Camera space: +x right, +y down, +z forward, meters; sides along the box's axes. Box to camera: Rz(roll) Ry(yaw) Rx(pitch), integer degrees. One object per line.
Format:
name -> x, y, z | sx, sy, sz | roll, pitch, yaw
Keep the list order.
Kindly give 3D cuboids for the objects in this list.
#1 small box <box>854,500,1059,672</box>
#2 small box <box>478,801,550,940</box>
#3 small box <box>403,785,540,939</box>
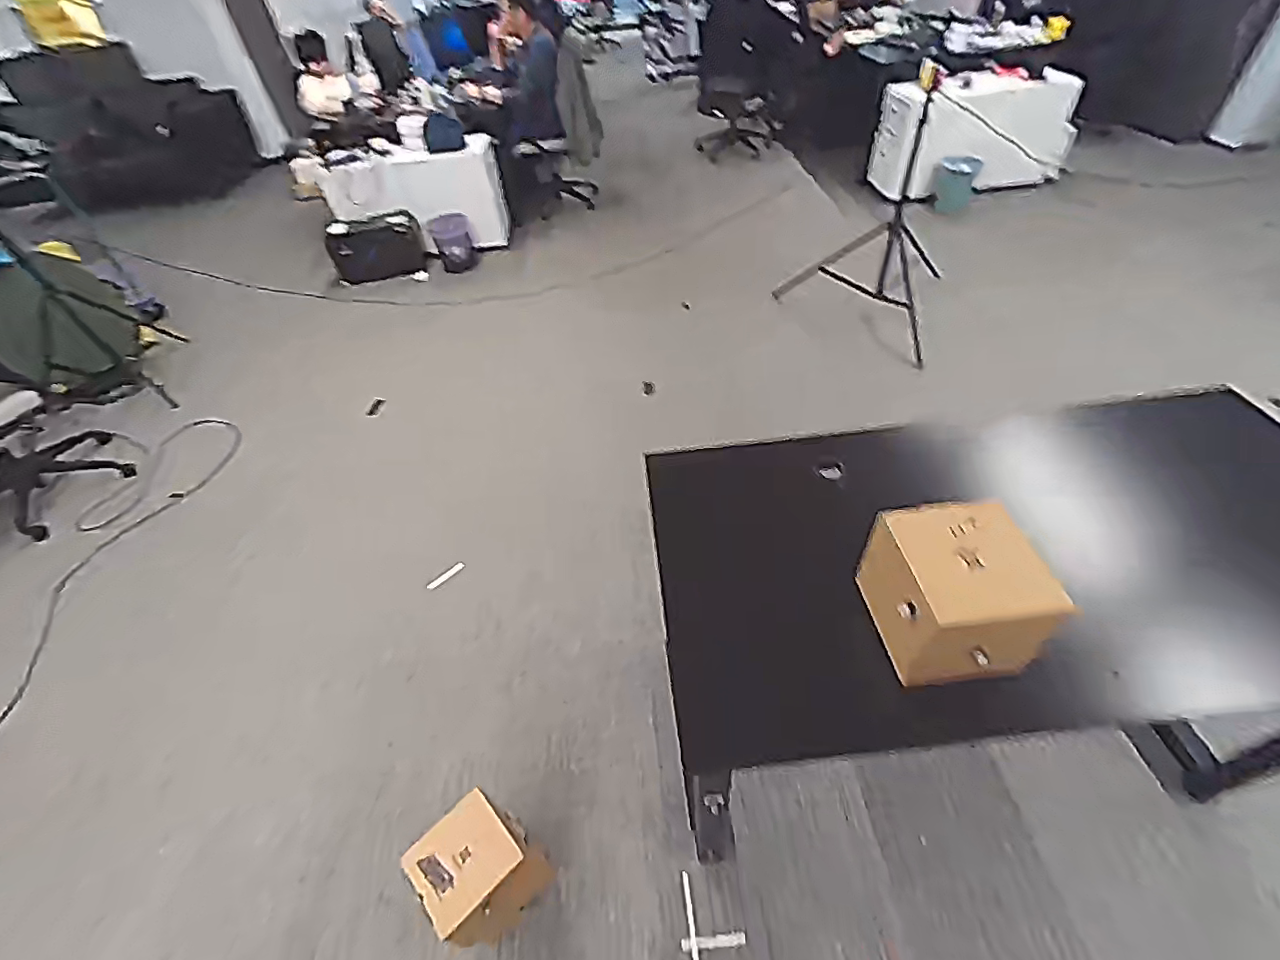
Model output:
small box -> 0.424, 0.155, 0.762 | 0.168, 0.176, 0.179 | -7, 45, -1
small box -> -0.315, 0.857, 1.189 | 0.168, 0.176, 0.179 | 33, 57, 32
small box -> -0.322, 0.751, 1.061 | 0.179, 0.176, 0.168 | -37, 53, -26
